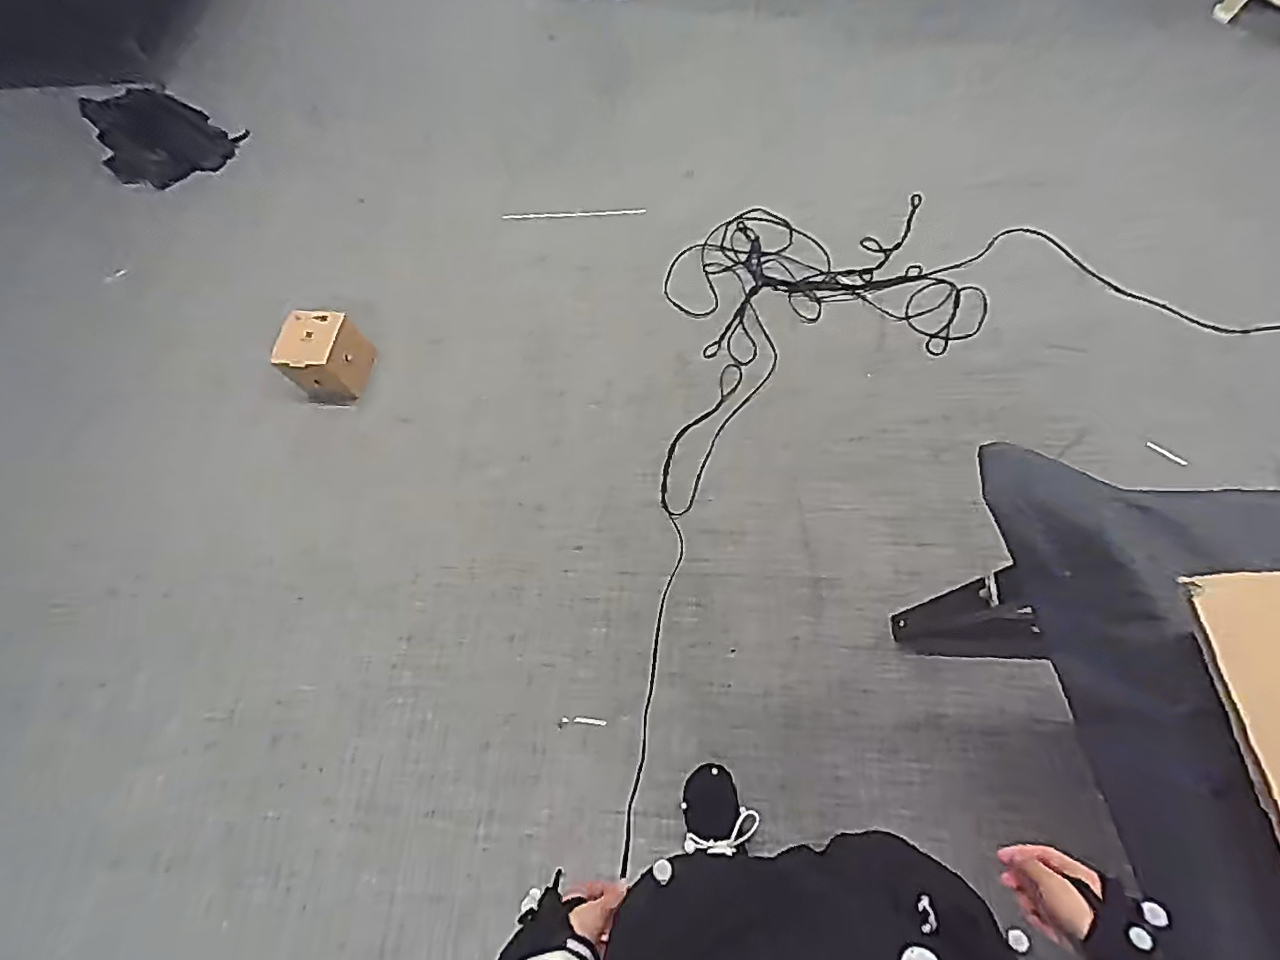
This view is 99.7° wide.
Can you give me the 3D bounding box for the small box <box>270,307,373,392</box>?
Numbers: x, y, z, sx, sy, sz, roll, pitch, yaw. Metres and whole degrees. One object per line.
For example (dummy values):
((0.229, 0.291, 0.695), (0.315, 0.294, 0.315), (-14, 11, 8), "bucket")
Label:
((-0.891, -0.364, 1.533), (0.168, 0.176, 0.179), (4, 69, 6), "small box")
